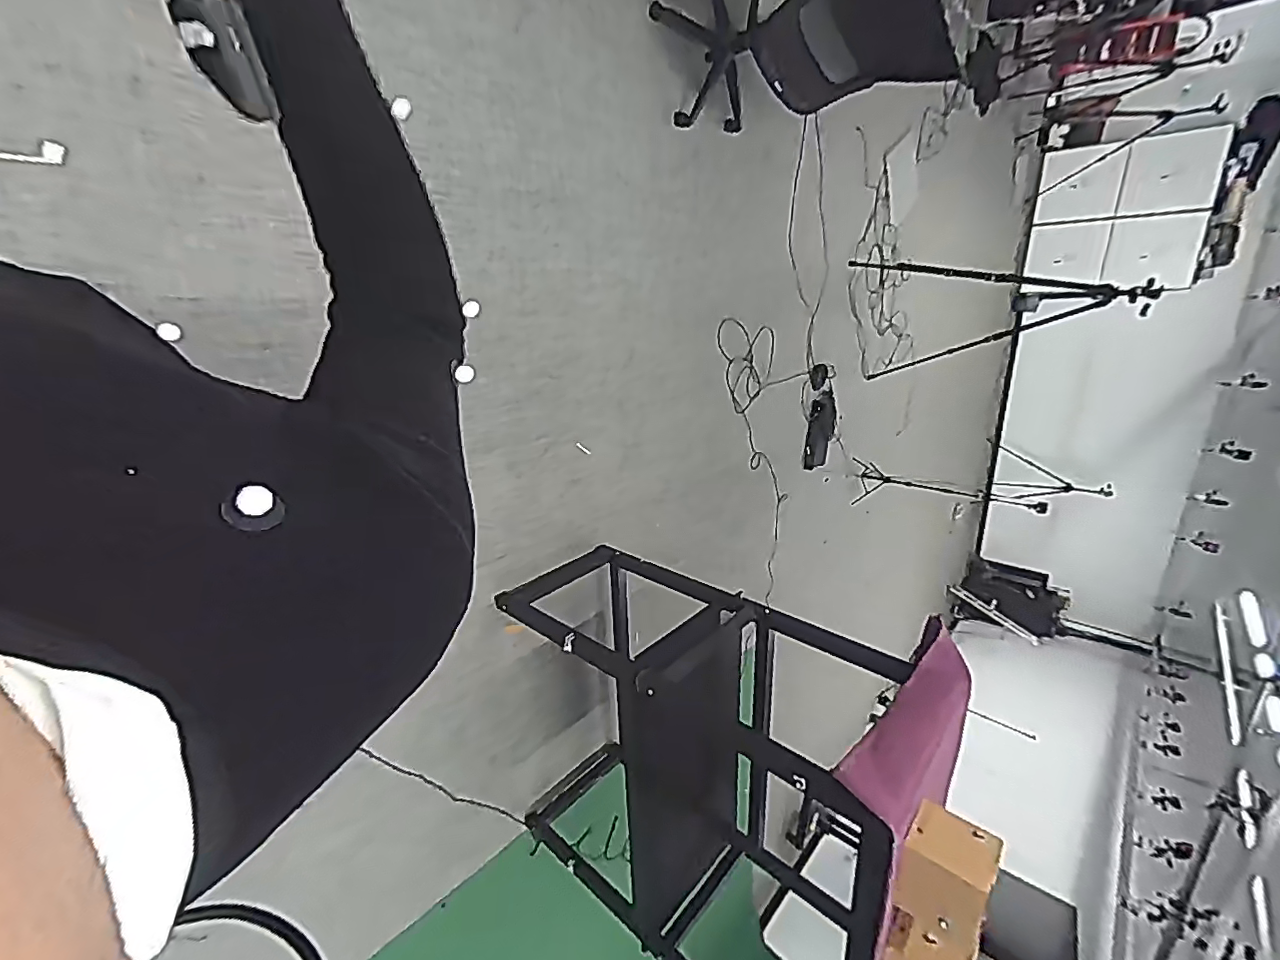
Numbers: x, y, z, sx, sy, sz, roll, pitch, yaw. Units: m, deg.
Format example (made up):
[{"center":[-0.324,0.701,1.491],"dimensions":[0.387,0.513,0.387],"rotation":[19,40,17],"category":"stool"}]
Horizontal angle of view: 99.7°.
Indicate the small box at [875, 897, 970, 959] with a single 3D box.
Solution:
[{"center":[0.676,1.168,1.310],"dimensions":[0.168,0.176,0.179],"rotation":[-16,112,-45],"category":"small box"}]
